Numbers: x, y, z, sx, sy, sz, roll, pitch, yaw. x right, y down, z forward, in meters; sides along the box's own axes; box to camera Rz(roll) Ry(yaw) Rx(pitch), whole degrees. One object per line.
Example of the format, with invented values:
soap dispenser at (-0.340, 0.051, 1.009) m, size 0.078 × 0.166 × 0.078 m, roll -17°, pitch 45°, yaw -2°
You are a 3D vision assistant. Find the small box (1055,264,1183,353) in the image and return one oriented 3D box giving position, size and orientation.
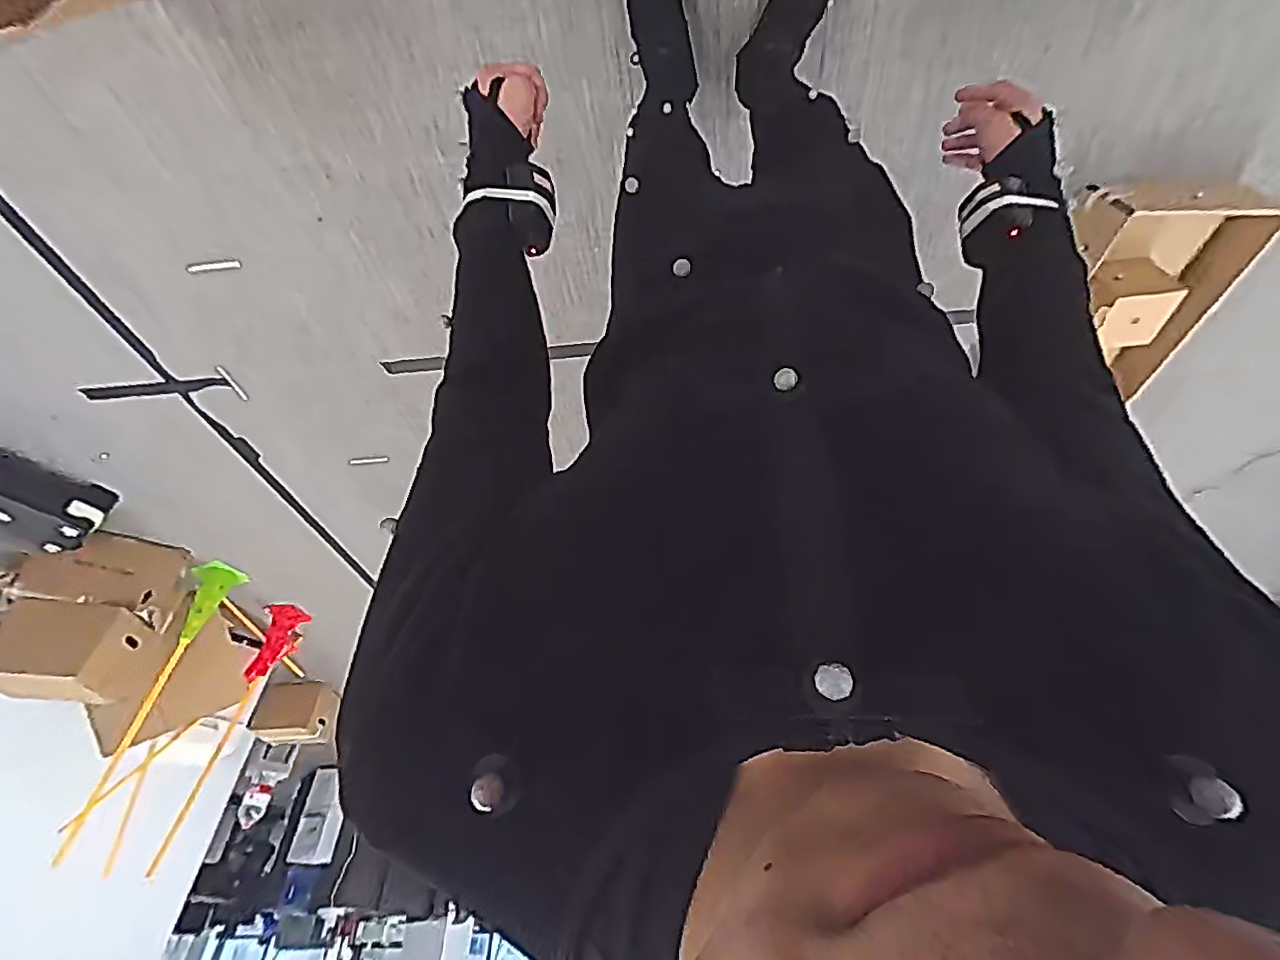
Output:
small box at (1.297, -0.471, 1.484) m, size 0.179 × 0.176 × 0.168 m, roll -4°, pitch 140°, yaw 4°
